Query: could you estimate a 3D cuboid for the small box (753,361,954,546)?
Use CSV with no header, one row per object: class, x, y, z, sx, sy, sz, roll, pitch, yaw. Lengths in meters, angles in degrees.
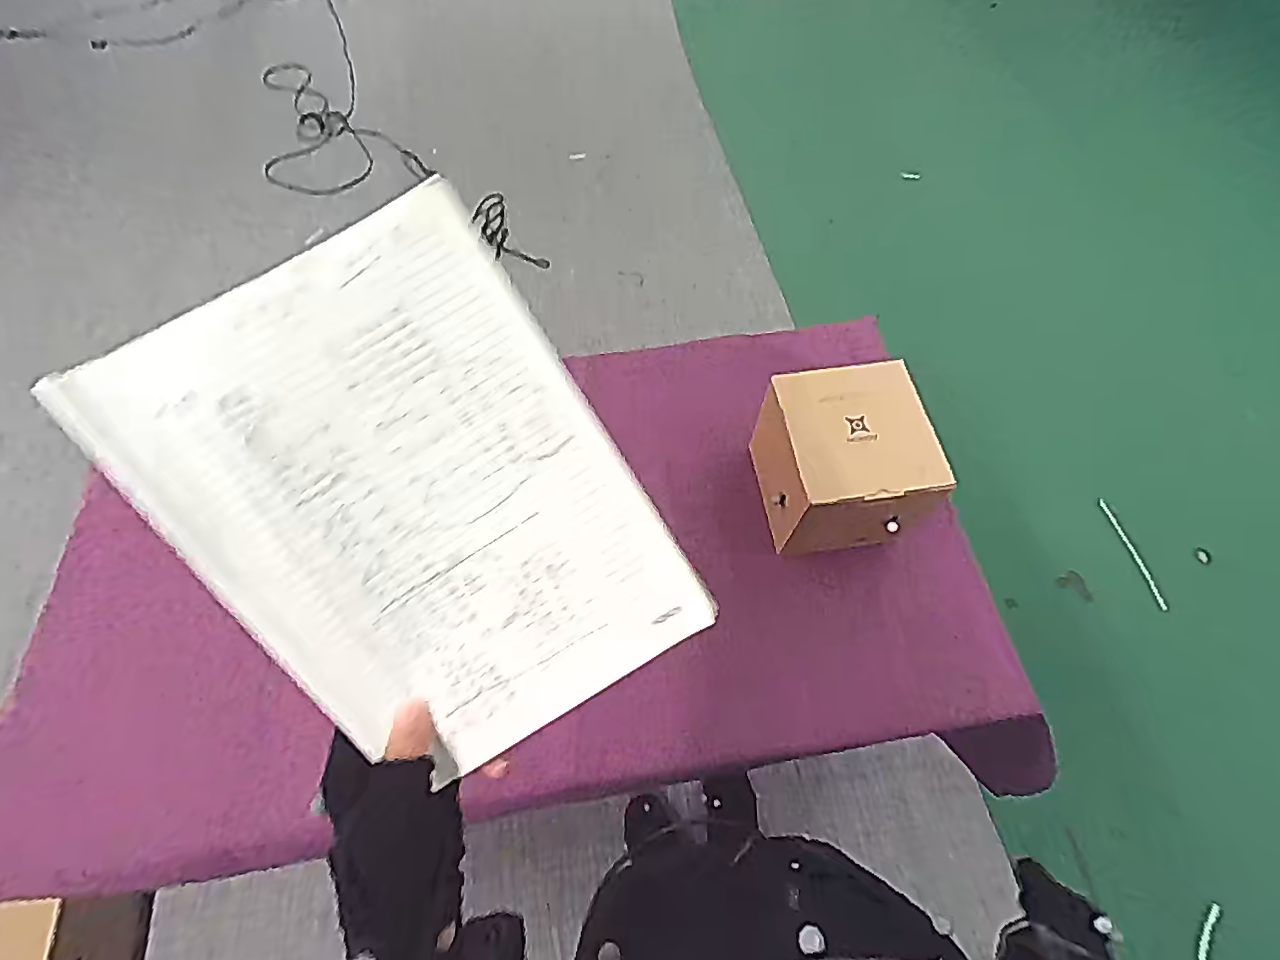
small box,0.251,-0.023,0.686,0.168,0.176,0.179,-6,63,-3
